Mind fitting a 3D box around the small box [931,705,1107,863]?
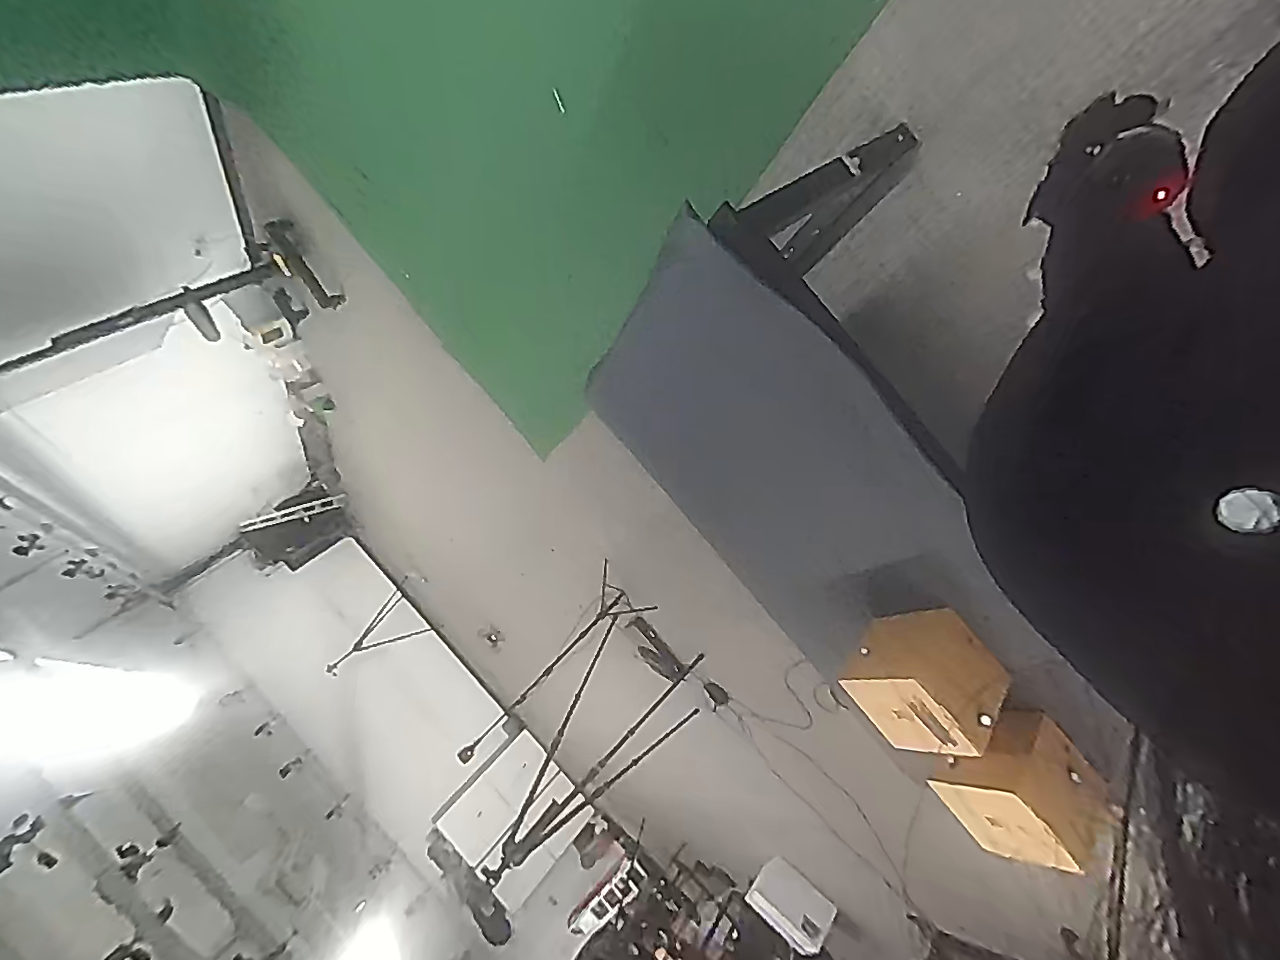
[{"bbox_3d":[0.668,0.519,0.955,0.168,0.176,0.179,49,148,1],"label":"small box"}]
